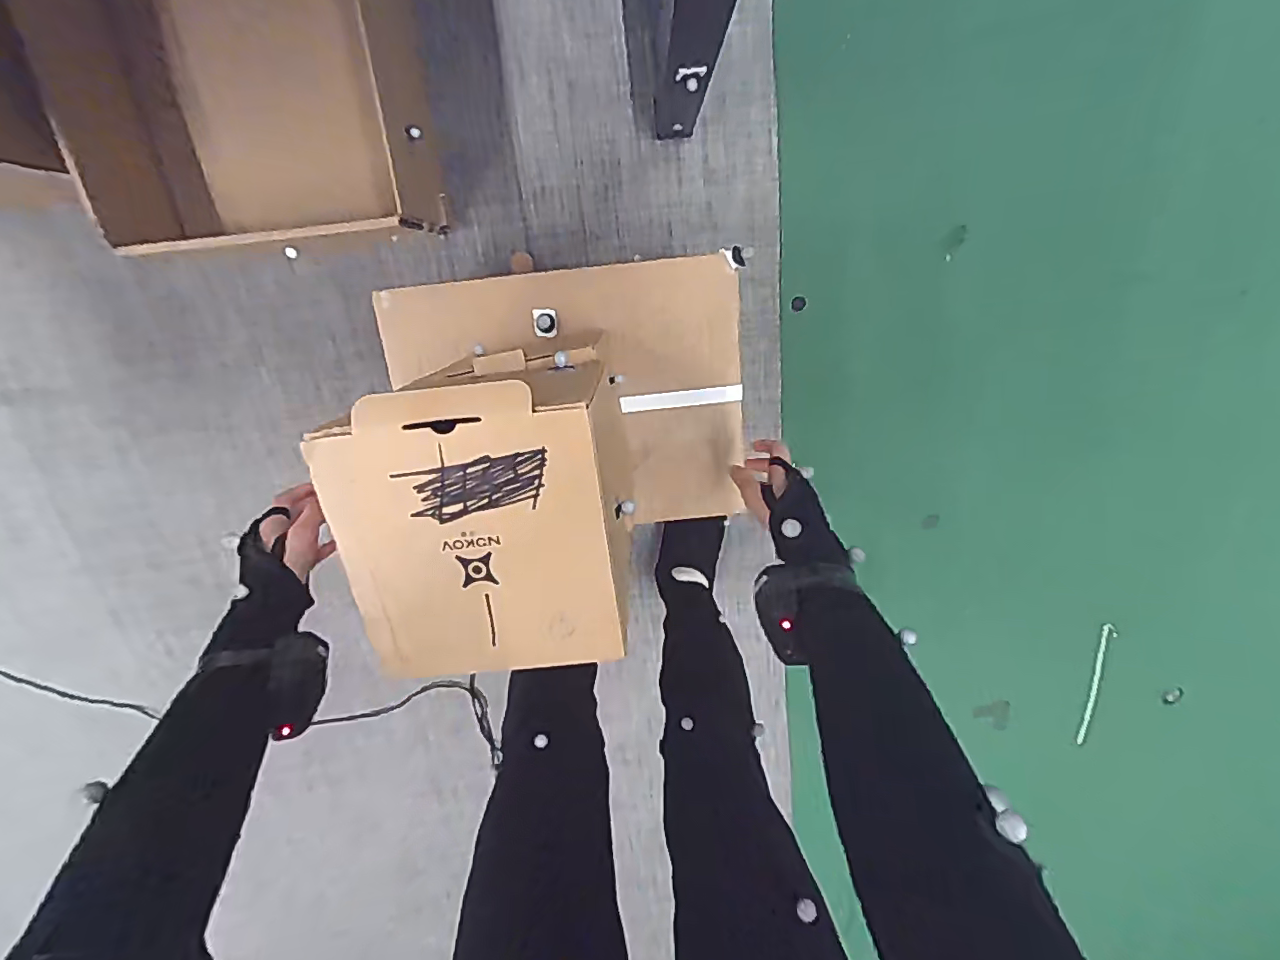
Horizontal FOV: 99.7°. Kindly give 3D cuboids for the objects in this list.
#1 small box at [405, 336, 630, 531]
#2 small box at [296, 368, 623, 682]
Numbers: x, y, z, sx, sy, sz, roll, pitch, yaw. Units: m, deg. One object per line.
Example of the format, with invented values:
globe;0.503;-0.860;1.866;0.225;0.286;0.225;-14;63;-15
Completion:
small box;-0.106;-0.046;0.553;0.168;0.176;0.179;-10;110;4
small box;-0.103;0.017;0.401;0.168;0.176;0.179;-6;111;2
